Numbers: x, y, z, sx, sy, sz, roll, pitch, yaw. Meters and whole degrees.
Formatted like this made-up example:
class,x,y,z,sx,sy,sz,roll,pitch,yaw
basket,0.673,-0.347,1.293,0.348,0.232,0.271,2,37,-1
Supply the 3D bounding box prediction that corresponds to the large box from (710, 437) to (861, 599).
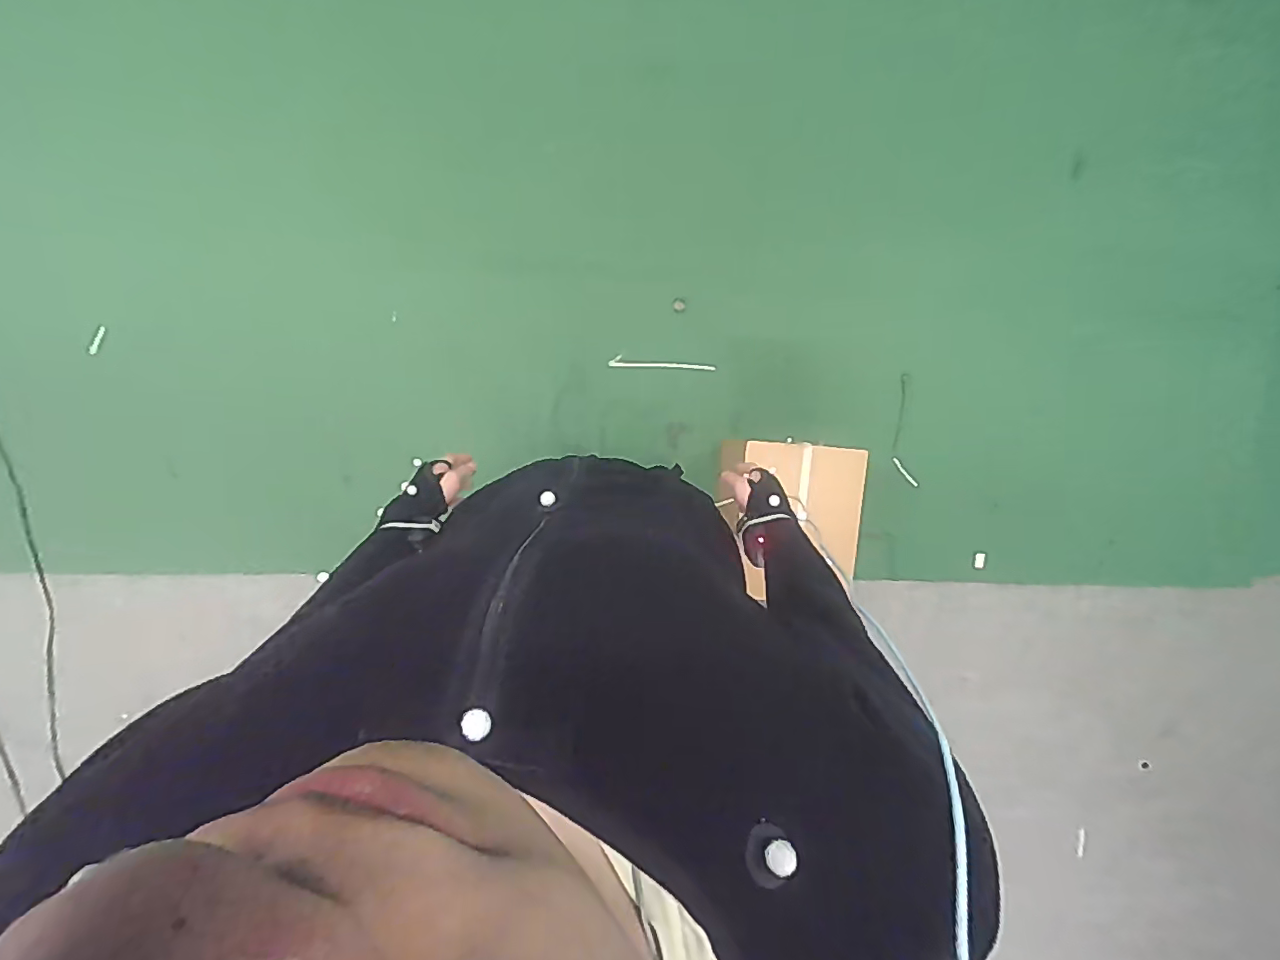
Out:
class,x,y,z,sx,sy,sz,roll,pitch,yaw
large box,0.389,0.088,1.527,0.320,0.320,0.408,4,96,-3
